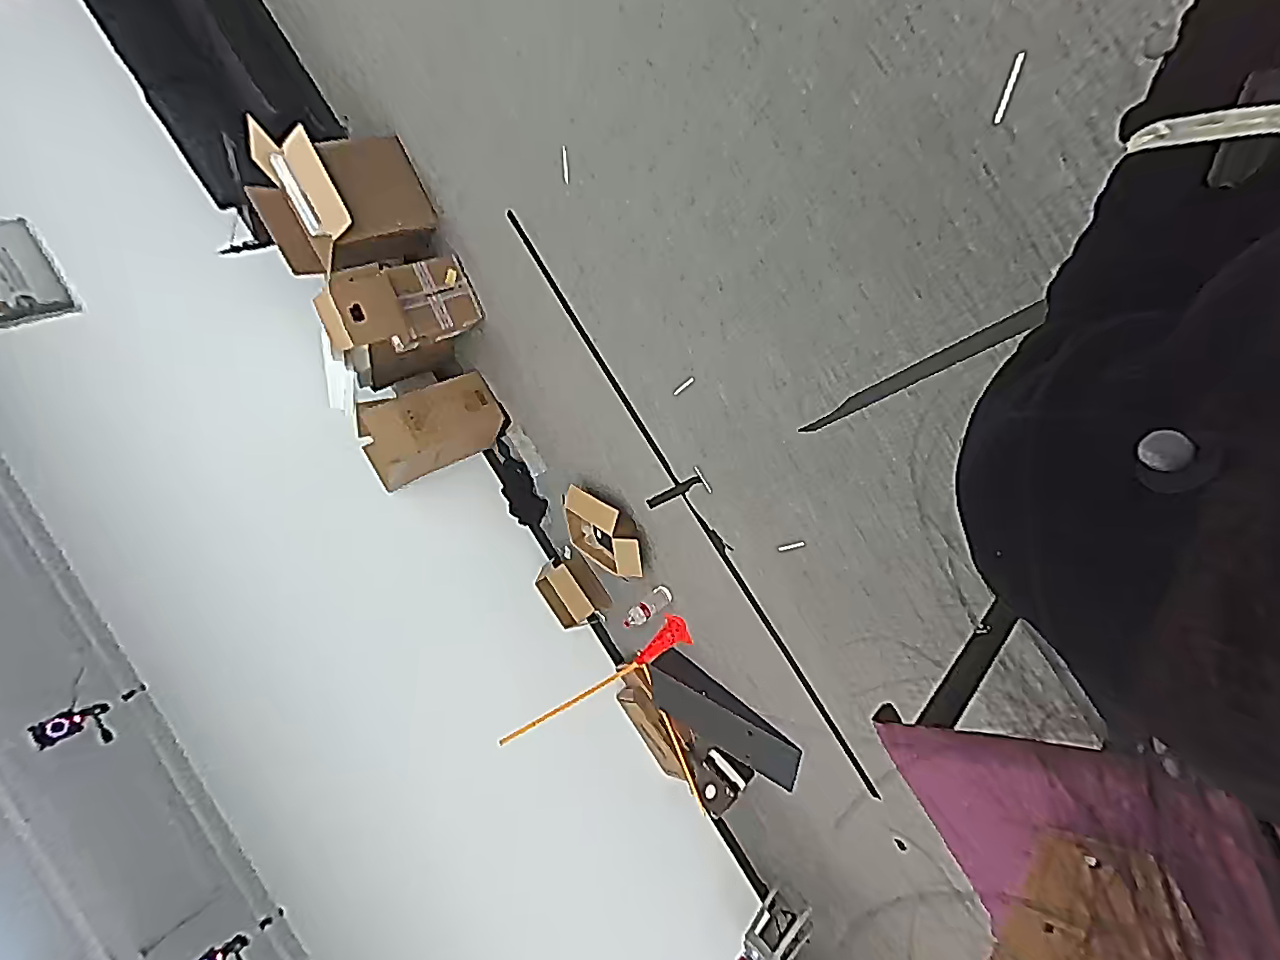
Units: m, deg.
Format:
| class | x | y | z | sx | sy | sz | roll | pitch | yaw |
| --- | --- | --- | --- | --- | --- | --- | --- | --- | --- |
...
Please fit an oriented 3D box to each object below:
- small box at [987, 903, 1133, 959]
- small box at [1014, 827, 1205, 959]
| class | x | y | z | sx | sy | sz | roll | pitch | yaw |
| --- | --- | --- | --- | --- | --- | --- | --- | --- | --- |
| small box | 0.637 | 0.786 | 0.787 | 0.168 | 0.176 | 0.179 | -23 | 98 | 58 |
| small box | 0.758 | 0.717 | 0.873 | 0.179 | 0.176 | 0.168 | 60 | 148 | -2 |
